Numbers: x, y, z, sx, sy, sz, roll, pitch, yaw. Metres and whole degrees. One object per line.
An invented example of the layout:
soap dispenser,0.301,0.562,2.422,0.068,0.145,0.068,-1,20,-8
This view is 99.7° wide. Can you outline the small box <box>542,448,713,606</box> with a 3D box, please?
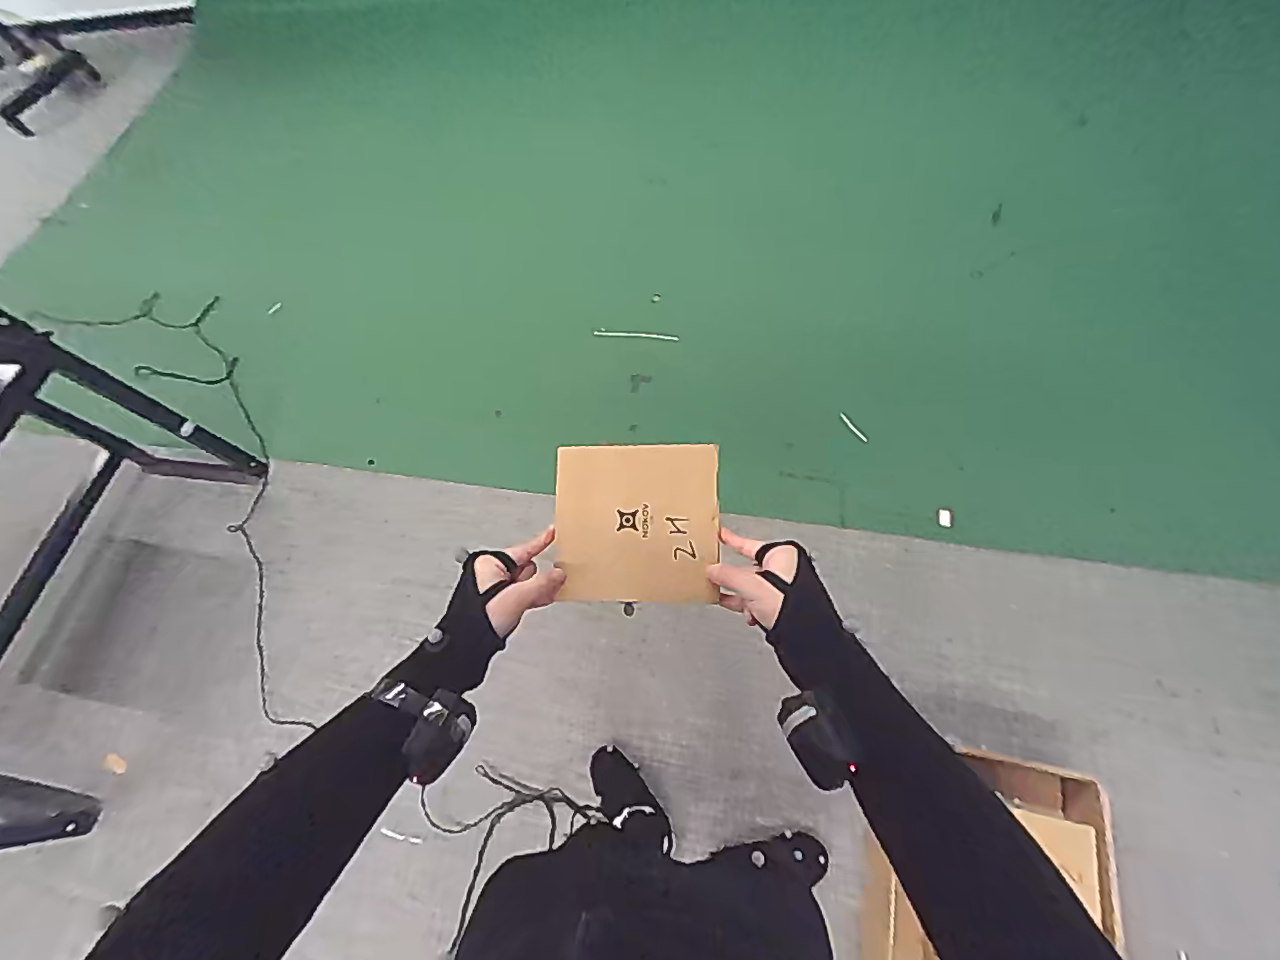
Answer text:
small box,-0.004,0.062,0.637,0.179,0.176,0.168,0,79,6
